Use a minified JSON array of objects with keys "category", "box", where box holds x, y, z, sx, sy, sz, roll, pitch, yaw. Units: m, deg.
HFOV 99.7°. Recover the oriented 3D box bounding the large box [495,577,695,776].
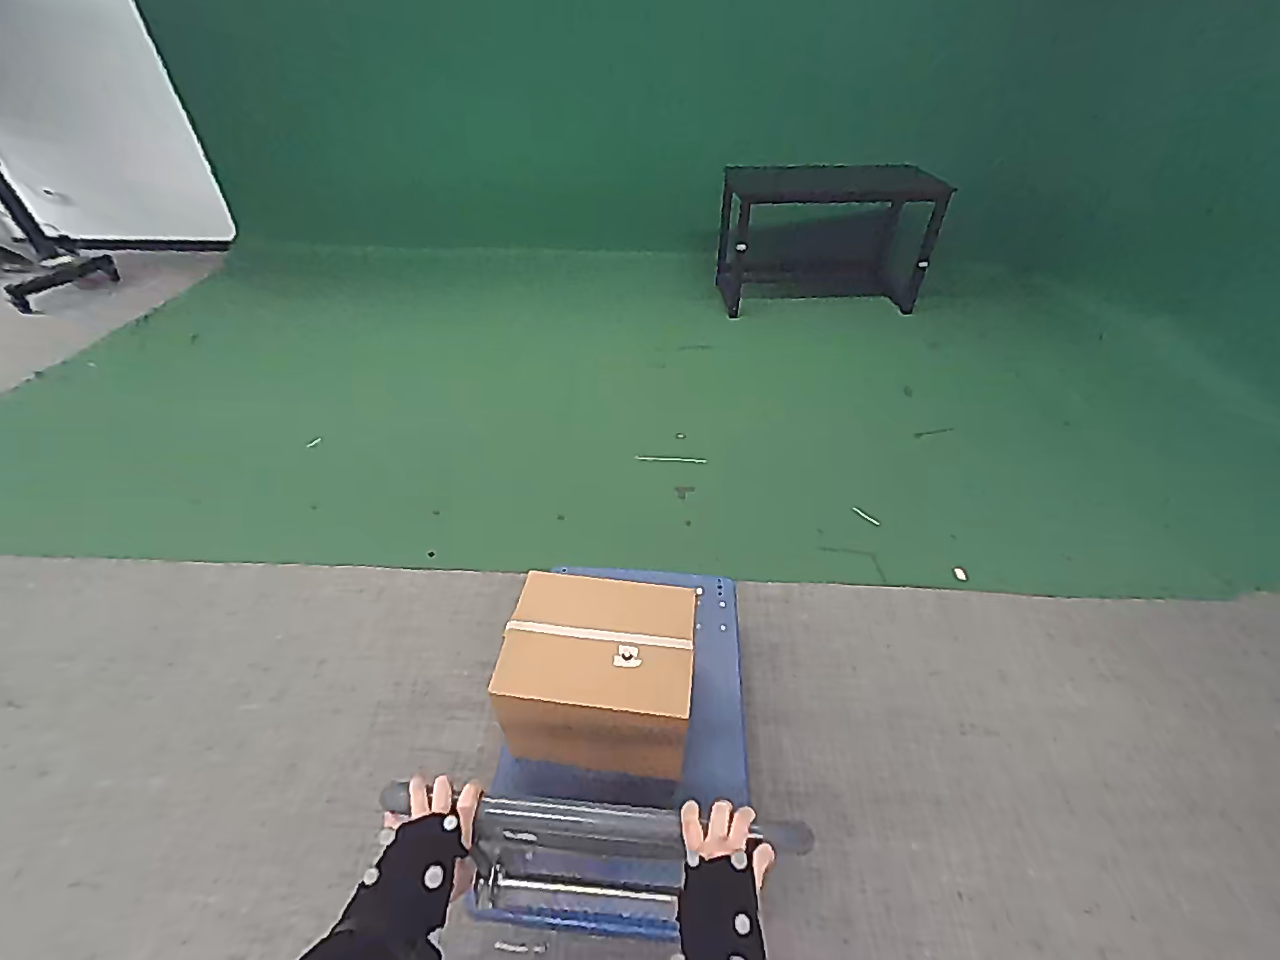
[{"category":"large box","box":[-0.087,0.463,1.284,0.408,0.320,0.320,6,41,4]}]
